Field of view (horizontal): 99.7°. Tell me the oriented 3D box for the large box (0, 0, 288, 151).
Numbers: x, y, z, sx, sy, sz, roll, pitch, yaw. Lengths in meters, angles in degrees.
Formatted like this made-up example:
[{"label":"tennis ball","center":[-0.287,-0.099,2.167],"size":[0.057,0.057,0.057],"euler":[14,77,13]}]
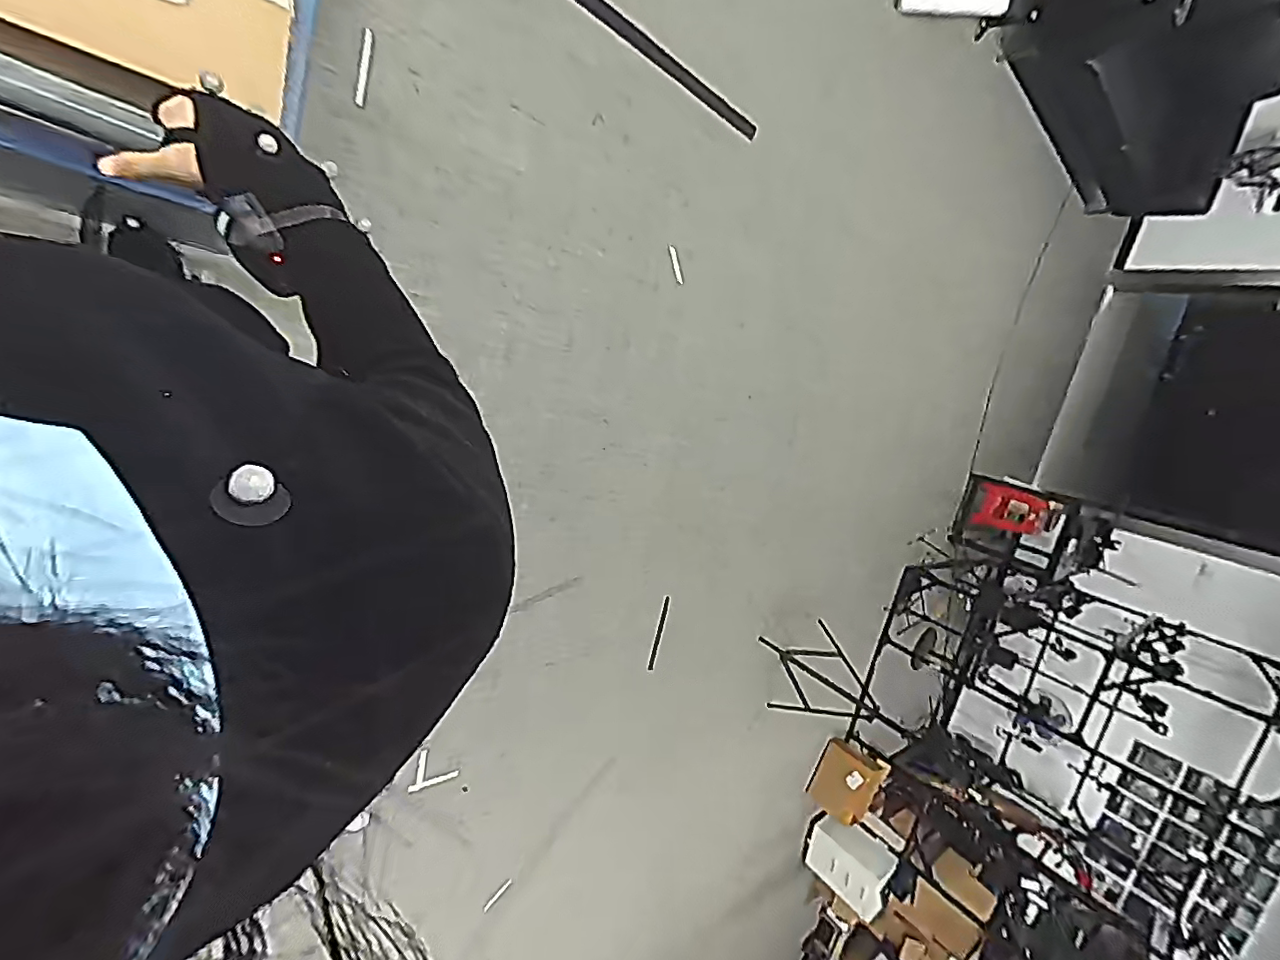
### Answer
[{"label":"large box","center":[-0.729,-0.702,0.716],"size":[0.408,0.320,0.320],"euler":[2,106,-43]}]
